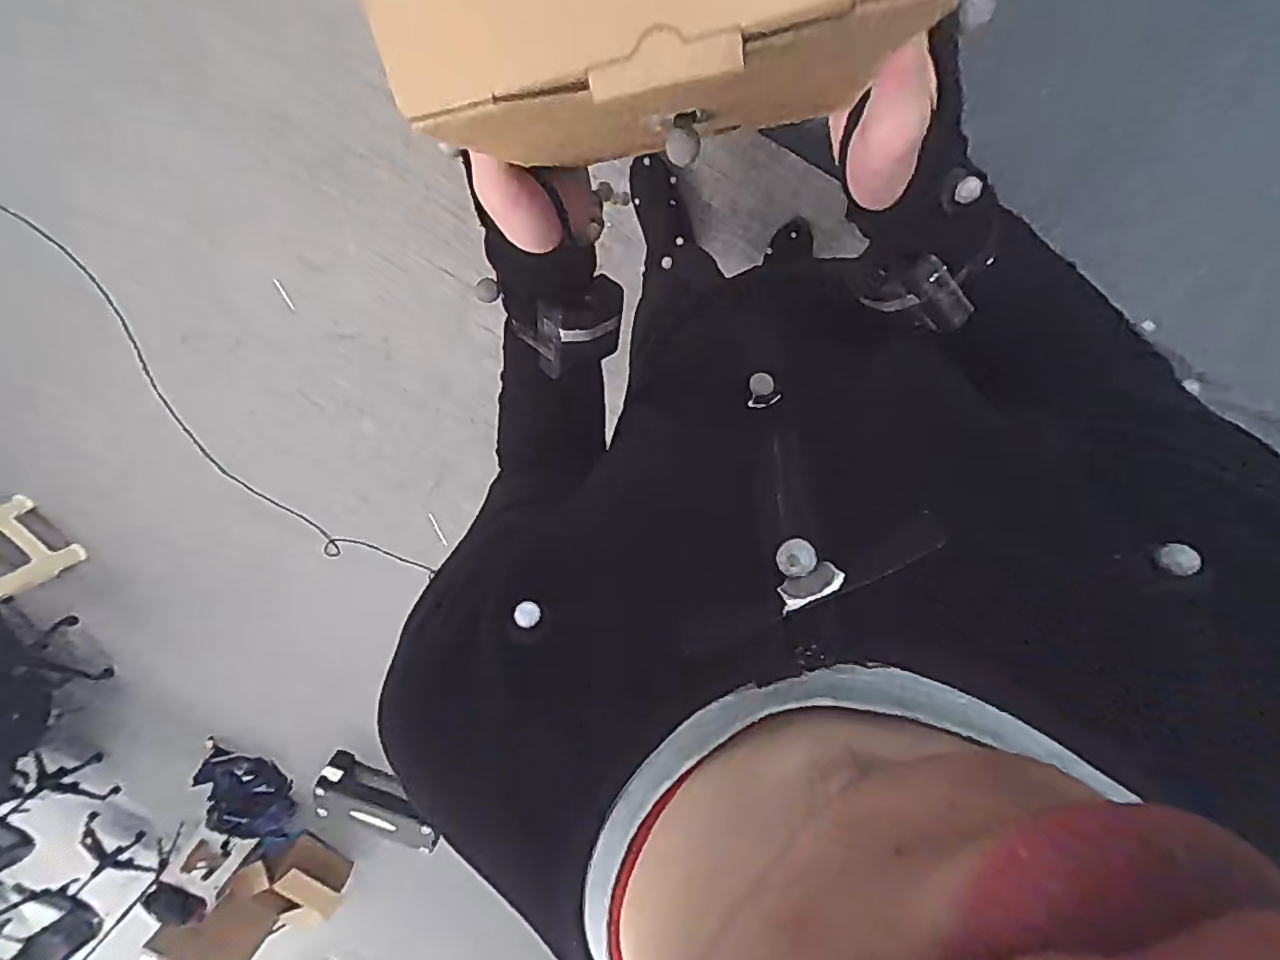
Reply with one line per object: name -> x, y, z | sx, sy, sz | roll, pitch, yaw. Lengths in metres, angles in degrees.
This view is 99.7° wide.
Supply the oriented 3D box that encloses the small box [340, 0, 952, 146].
small box -> -0.003, -0.226, 0.180 | 0.168, 0.176, 0.179 | -6, 116, 8
